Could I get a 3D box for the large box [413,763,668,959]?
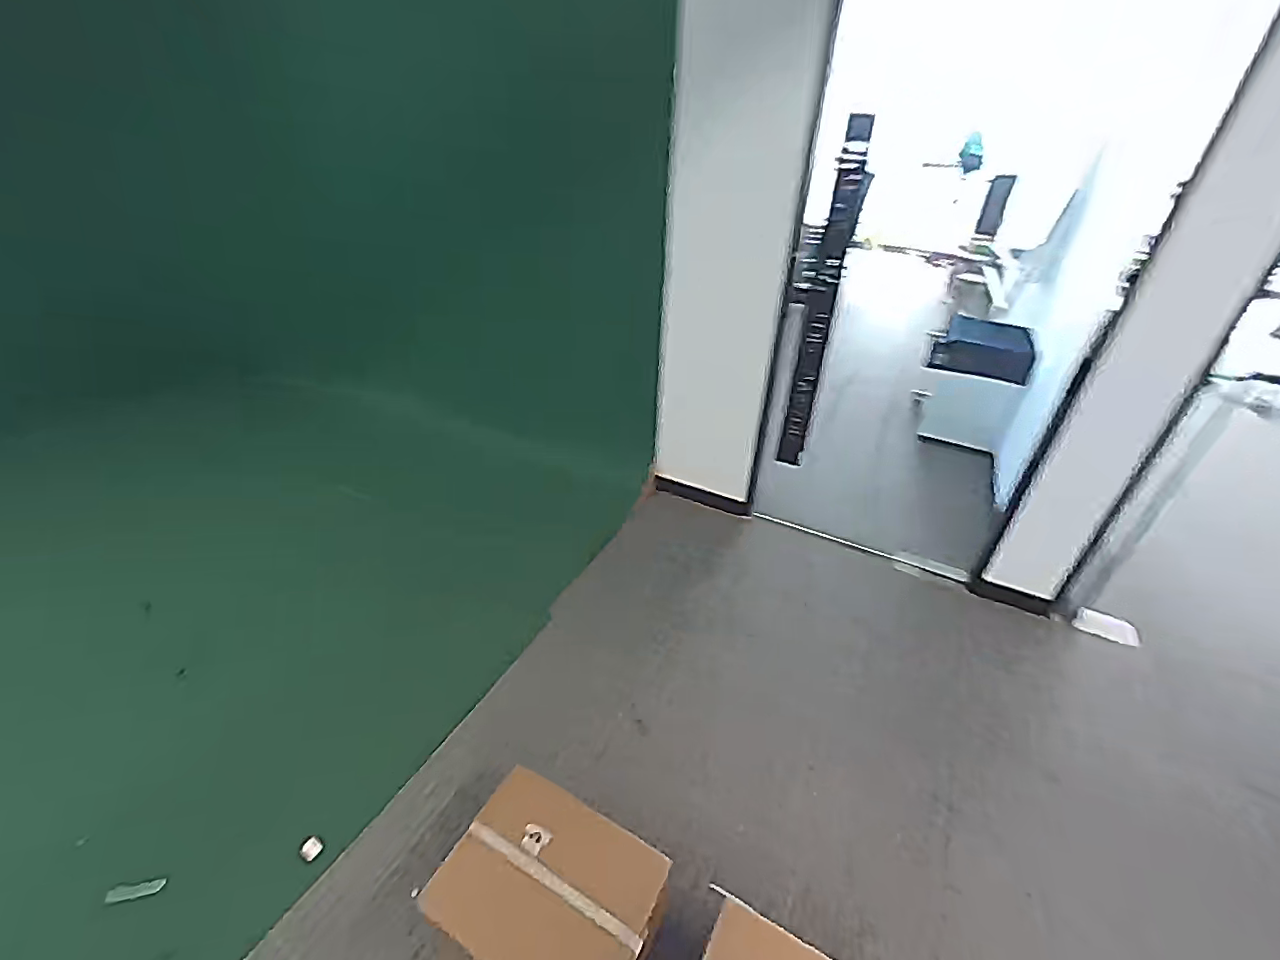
[{"bbox_3d":[-0.187,0.900,1.138,0.408,0.320,0.320,19,37,24],"label":"large box"}]
